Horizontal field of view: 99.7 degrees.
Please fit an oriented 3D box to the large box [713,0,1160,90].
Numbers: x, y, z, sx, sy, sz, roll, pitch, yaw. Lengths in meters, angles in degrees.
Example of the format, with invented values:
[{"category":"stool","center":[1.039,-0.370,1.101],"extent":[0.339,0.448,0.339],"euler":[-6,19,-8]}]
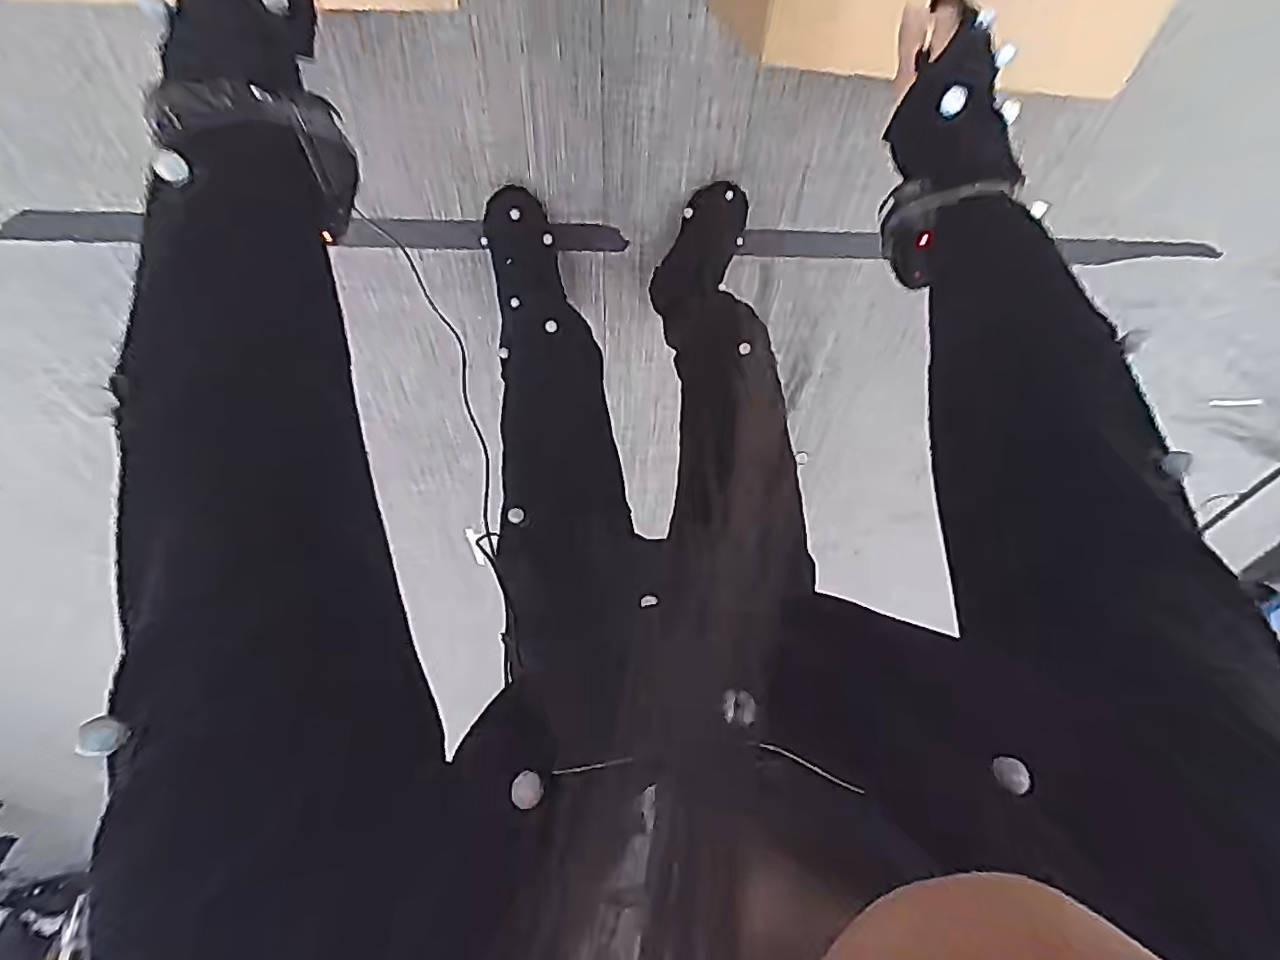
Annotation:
[{"category":"large box","center":[0.319,-0.643,0.567],"extent":[0.408,0.320,0.320],"euler":[0,138,-8]}]
